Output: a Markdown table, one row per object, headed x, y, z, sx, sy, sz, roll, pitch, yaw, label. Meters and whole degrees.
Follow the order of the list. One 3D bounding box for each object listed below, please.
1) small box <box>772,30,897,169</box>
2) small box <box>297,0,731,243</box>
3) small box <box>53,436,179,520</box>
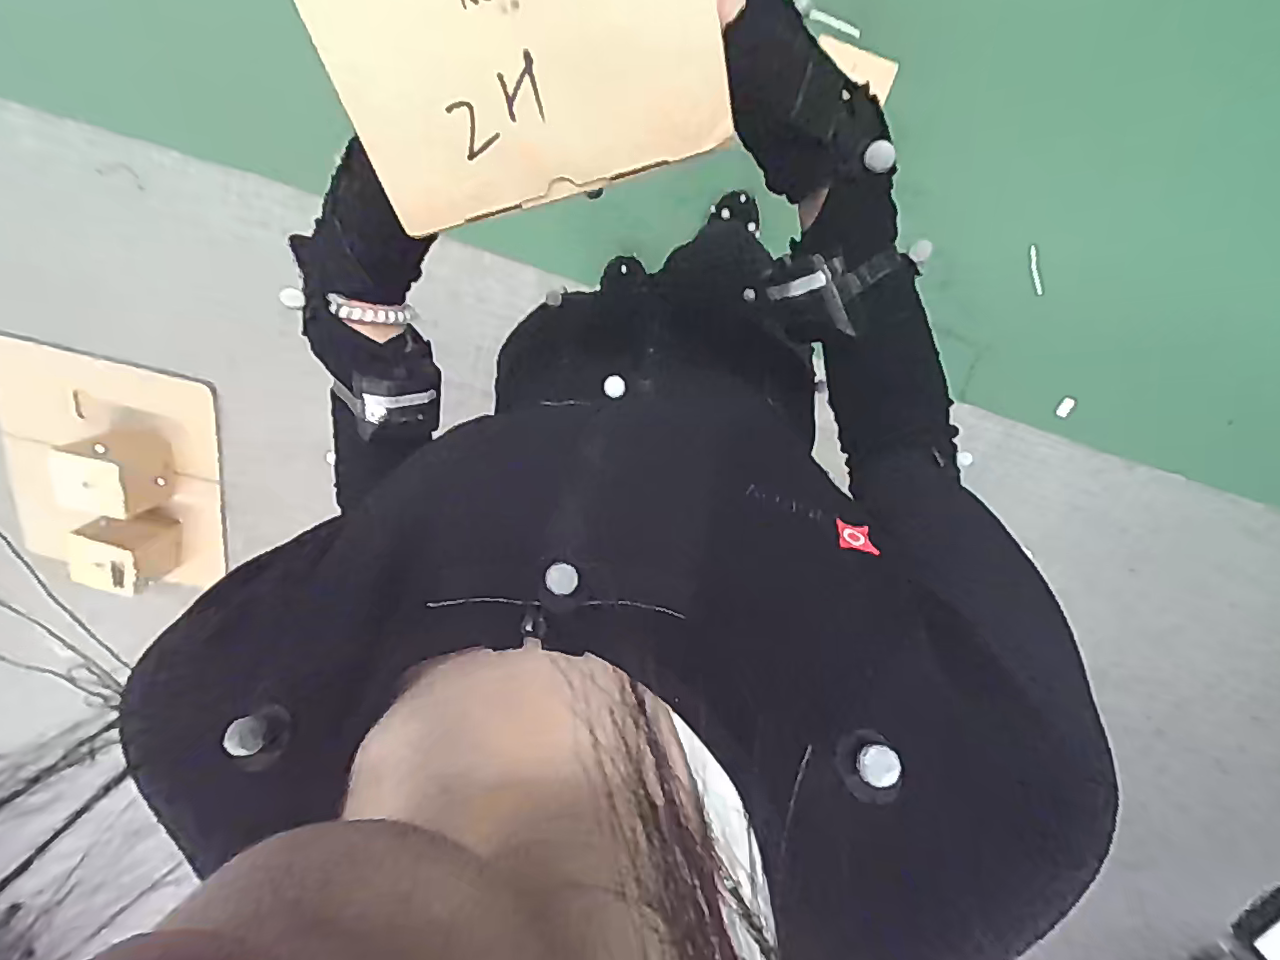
| x | y | z | sx | sy | sz | roll | pitch | yaw | label |
| --- | --- | --- | --- | --- | --- | --- | --- | --- | --- |
| 0.386 | -0.768 | 1.116 | 0.168 | 0.176 | 0.179 | 17 | 112 | -5 | small box |
| -0.056 | -0.249 | 0.278 | 0.168 | 0.176 | 0.179 | -12 | 125 | 10 | small box |
| -1.428 | -0.012 | 1.485 | 0.179 | 0.176 | 0.168 | 12 | 112 | -4 | small box |
